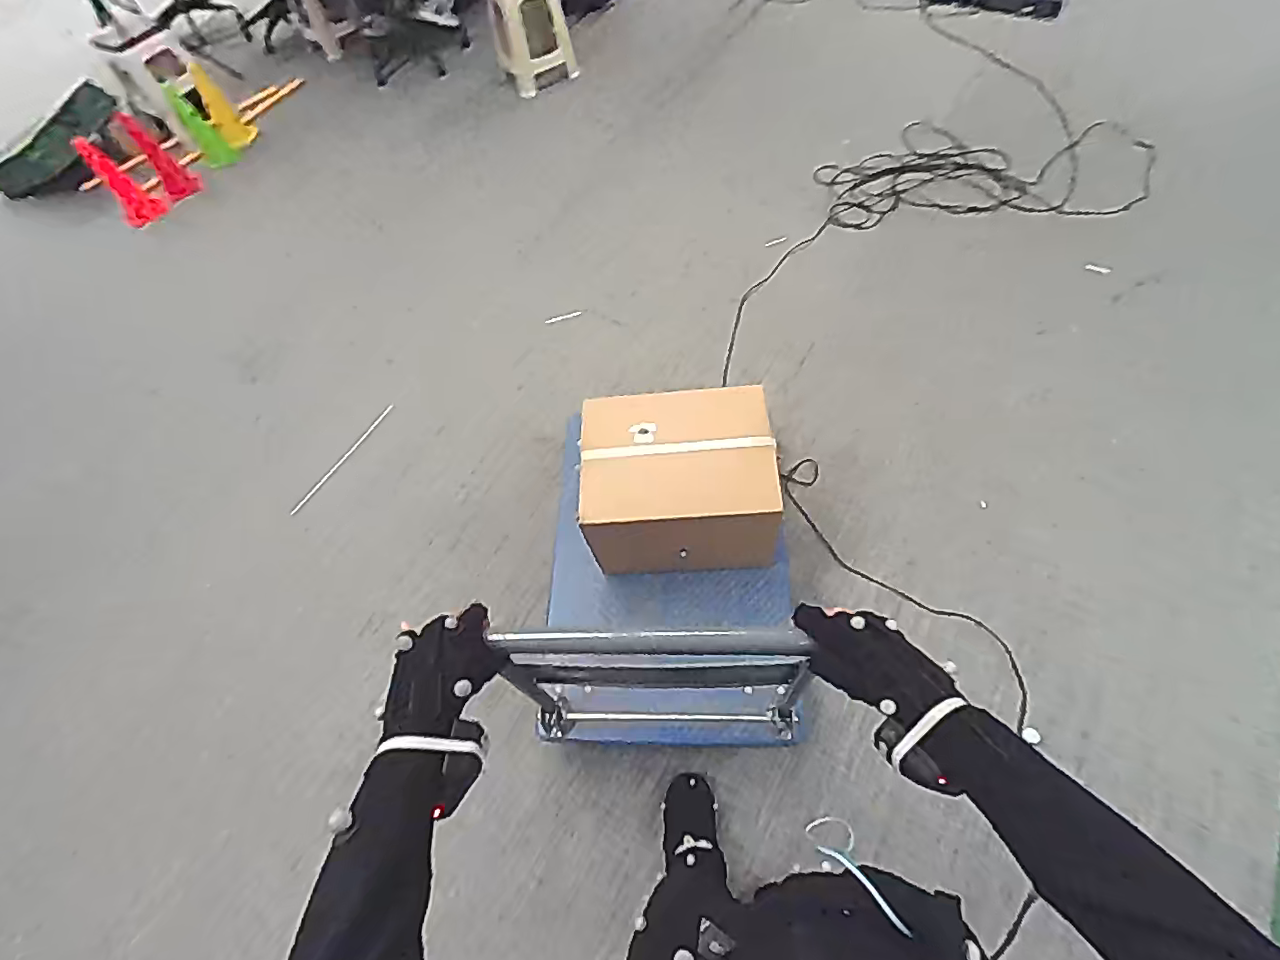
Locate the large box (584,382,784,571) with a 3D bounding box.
[{"bbox_3d":[0.098,0.006,1.266,0.408,0.320,0.320,-6,60,5],"label":"large box"}]
